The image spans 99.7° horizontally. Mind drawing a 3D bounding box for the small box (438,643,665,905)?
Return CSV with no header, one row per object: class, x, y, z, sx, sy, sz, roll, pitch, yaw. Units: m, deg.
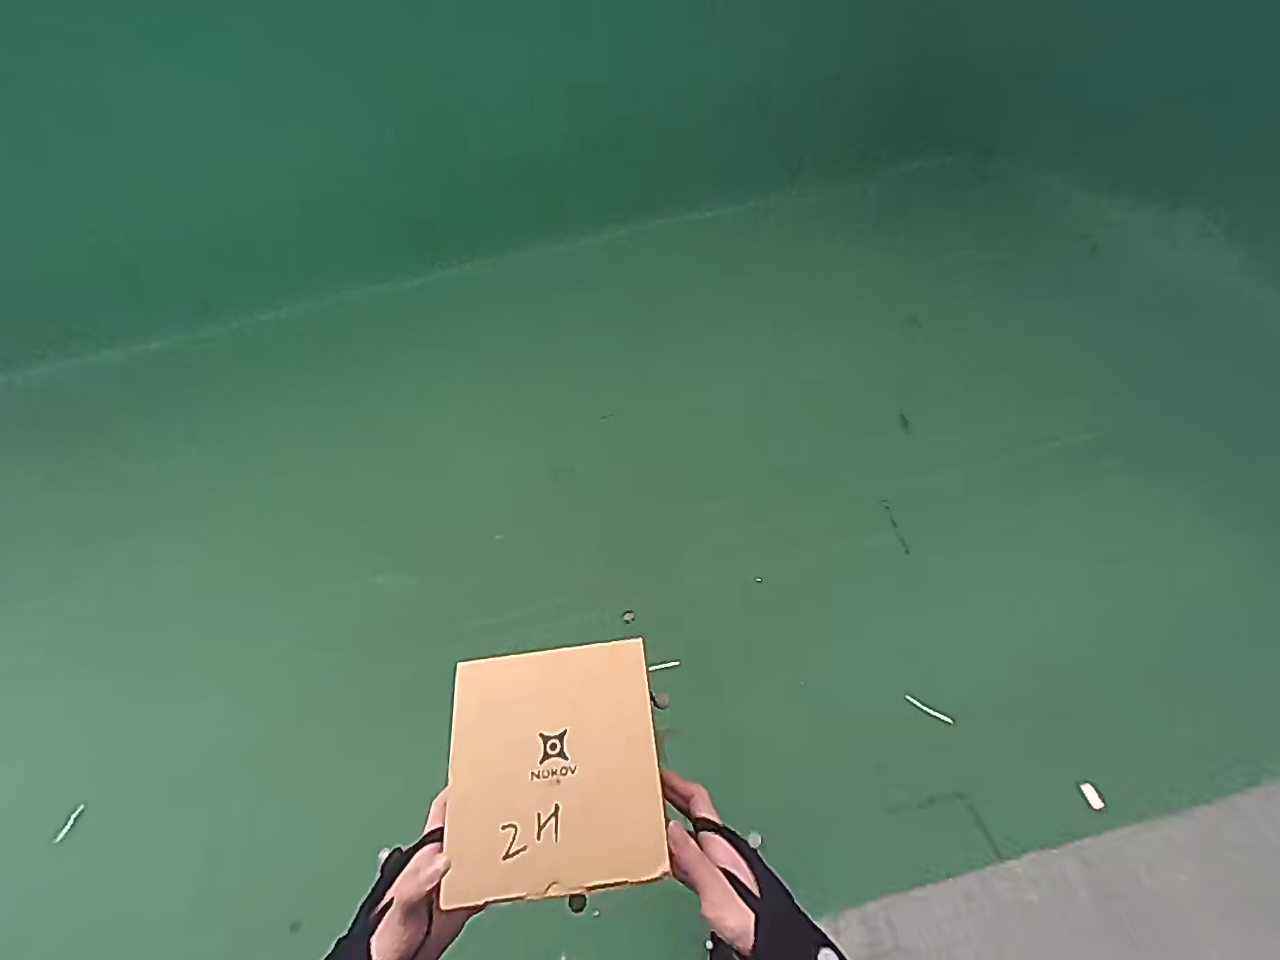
small box,-0.069,0.271,0.500,0.168,0.176,0.179,-7,55,-1
